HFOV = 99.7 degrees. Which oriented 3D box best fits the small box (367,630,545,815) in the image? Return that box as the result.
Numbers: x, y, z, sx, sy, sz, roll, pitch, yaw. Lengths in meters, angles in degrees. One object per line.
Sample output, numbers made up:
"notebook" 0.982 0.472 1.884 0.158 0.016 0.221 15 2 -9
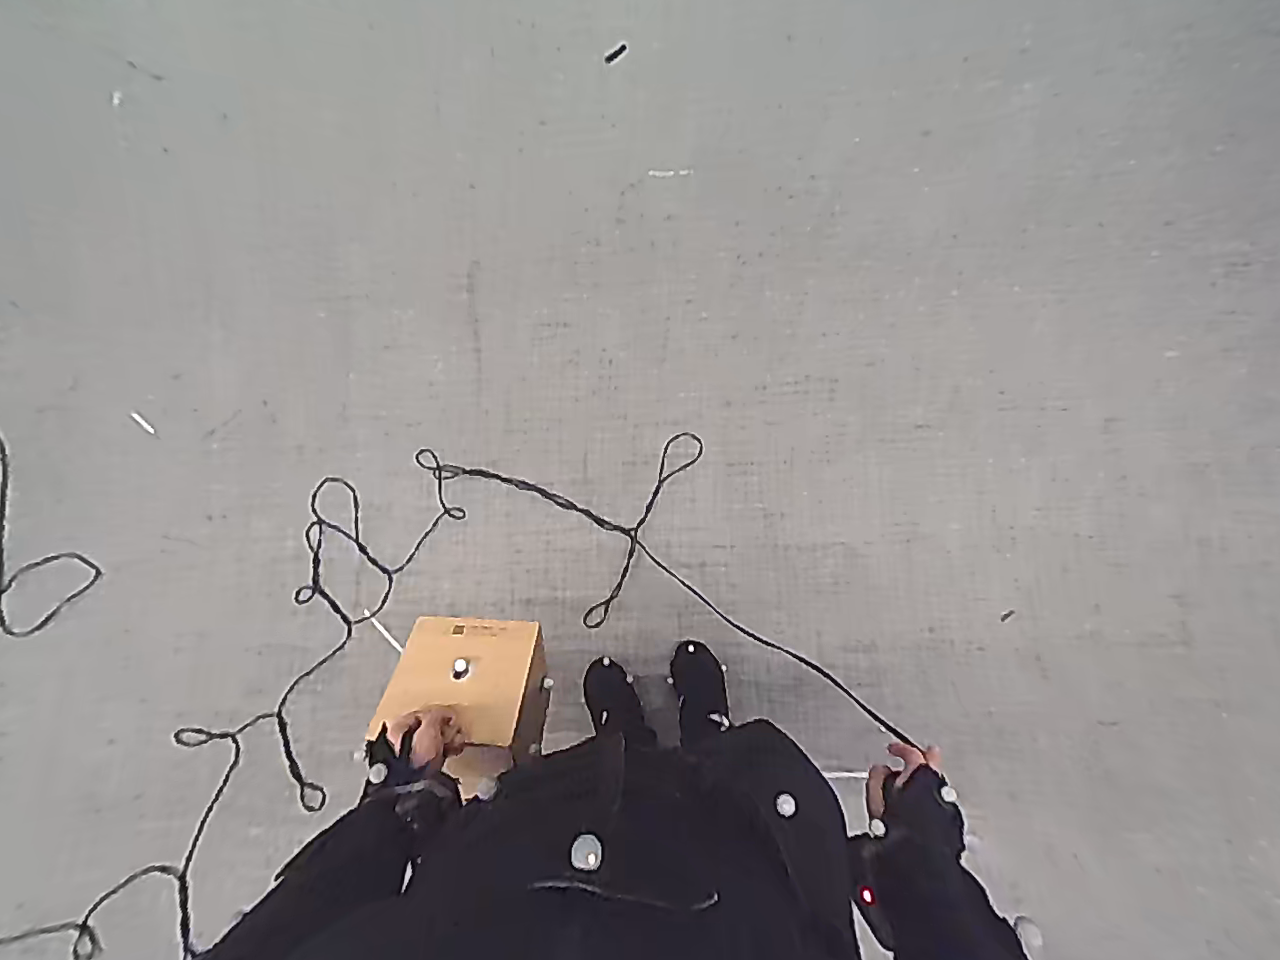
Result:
"small box" -0.222 0.313 0.707 0.168 0.179 0.176 1 38 0
